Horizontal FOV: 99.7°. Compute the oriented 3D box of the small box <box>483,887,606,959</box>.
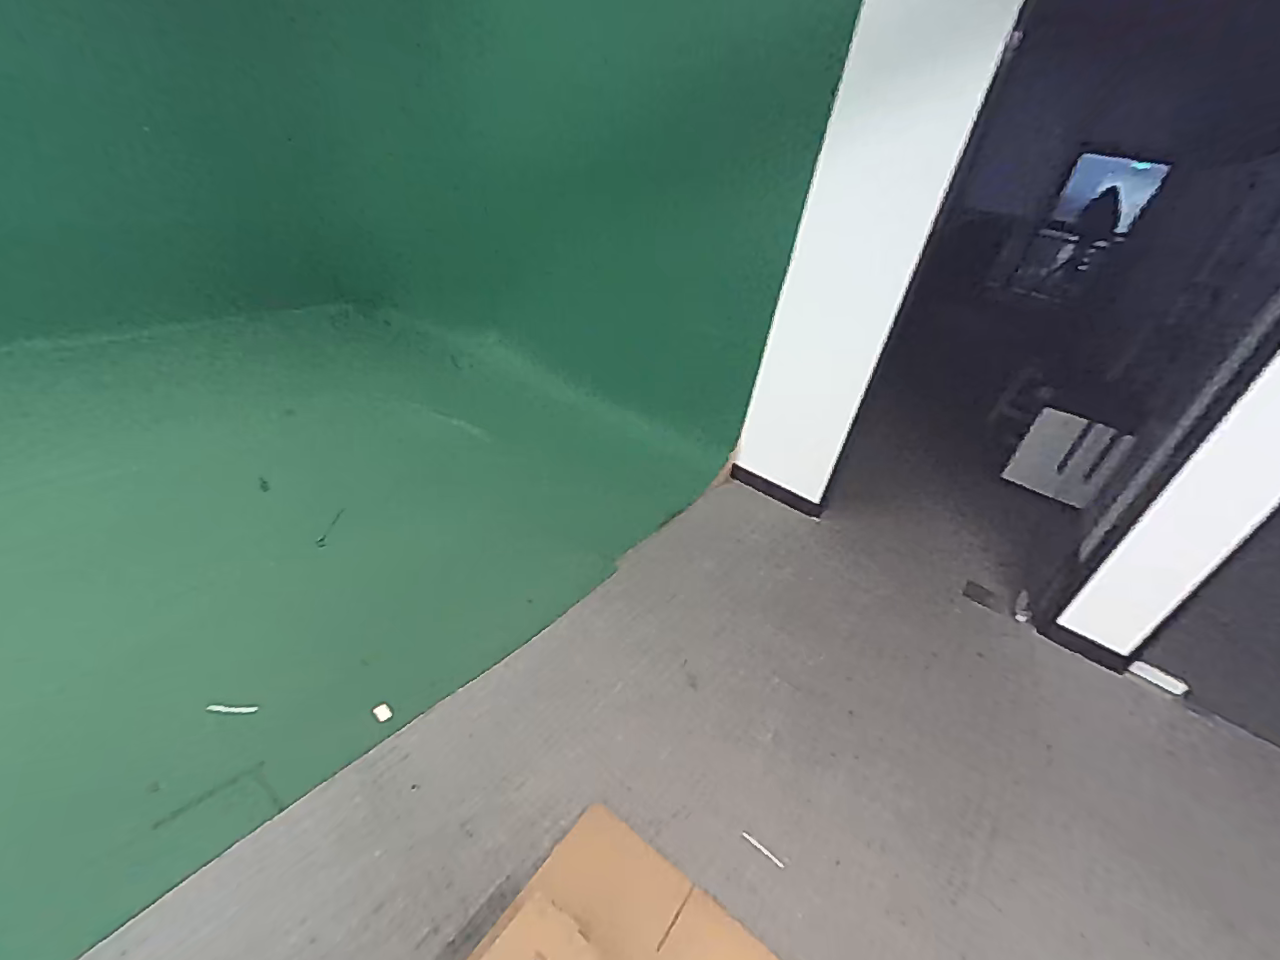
[{"bbox_3d":[-0.185,0.910,0.984,0.168,0.176,0.179,28,38,27],"label":"small box"}]
